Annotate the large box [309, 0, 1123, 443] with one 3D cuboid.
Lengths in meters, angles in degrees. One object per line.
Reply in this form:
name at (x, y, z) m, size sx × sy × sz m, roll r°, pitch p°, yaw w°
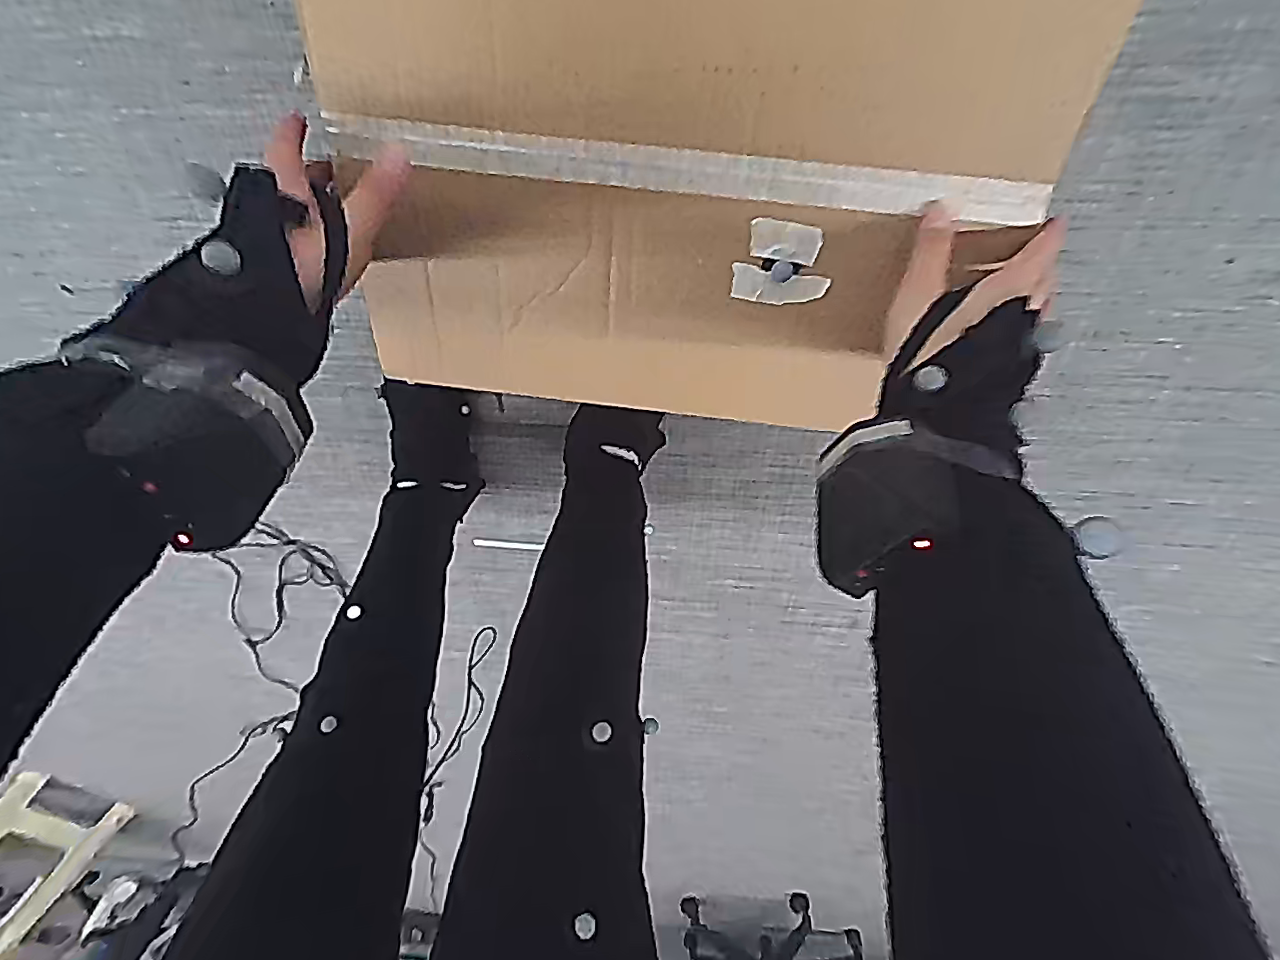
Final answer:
large box at (0.033, -0.255, 0.433) m, size 0.408 × 0.320 × 0.320 m, roll 7°, pitch 127°, yaw 1°
